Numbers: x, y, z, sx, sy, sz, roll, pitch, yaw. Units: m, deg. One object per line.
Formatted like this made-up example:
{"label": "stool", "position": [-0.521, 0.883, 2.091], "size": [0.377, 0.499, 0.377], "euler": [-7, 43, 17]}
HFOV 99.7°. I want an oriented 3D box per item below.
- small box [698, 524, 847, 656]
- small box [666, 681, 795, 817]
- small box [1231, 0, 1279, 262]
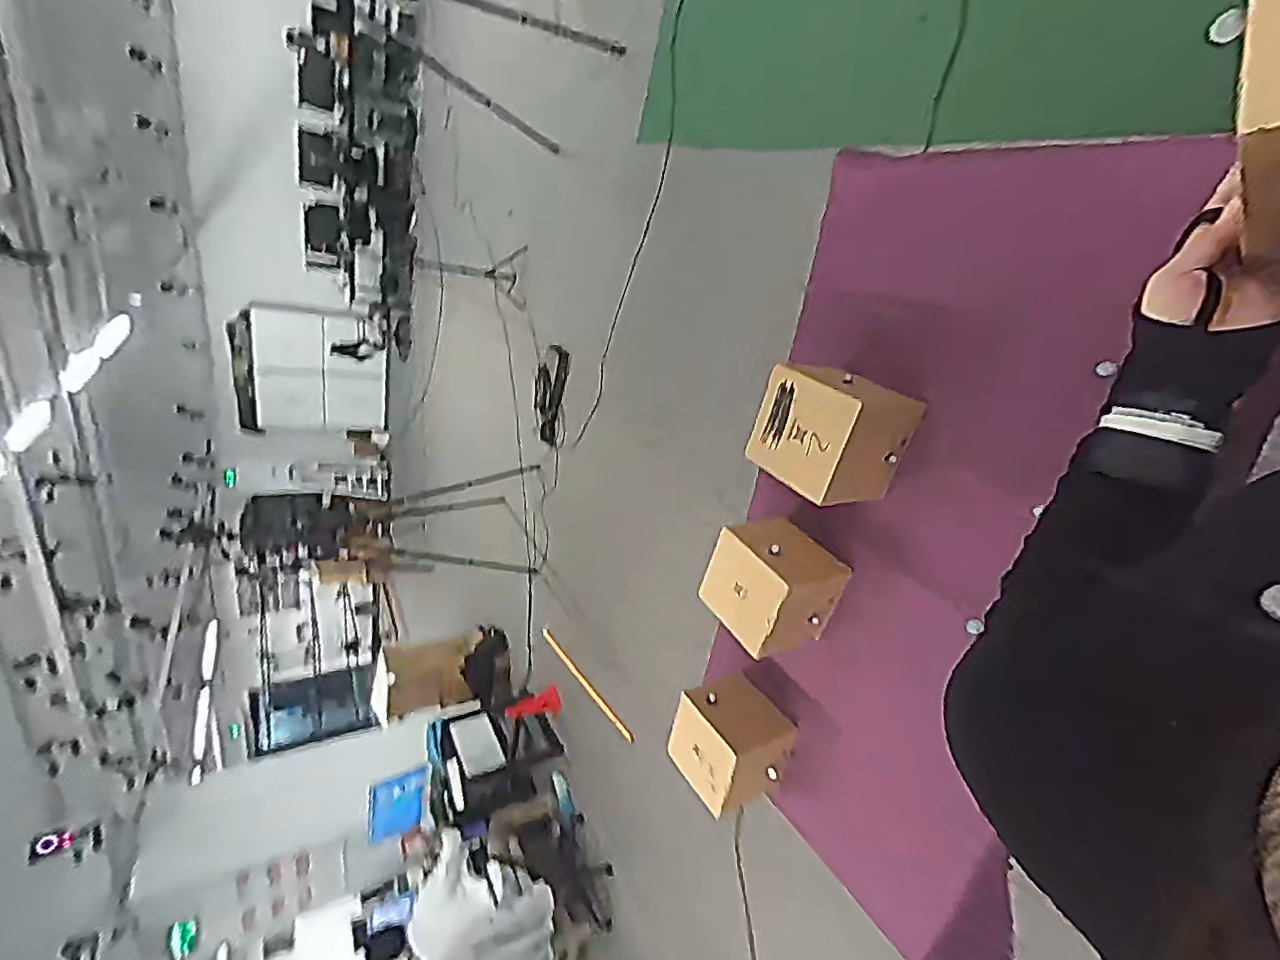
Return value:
{"label": "small box", "position": [0.243, 0.193, 1.005], "size": [0.179, 0.176, 0.168], "euler": [44, 128, 45]}
{"label": "small box", "position": [0.183, 0.539, 1.116], "size": [0.179, 0.176, 0.168], "euler": [36, 122, 49]}
{"label": "small box", "position": [0.415, -0.232, 0.254], "size": [0.179, 0.168, 0.176], "euler": [7, 88, 48]}
